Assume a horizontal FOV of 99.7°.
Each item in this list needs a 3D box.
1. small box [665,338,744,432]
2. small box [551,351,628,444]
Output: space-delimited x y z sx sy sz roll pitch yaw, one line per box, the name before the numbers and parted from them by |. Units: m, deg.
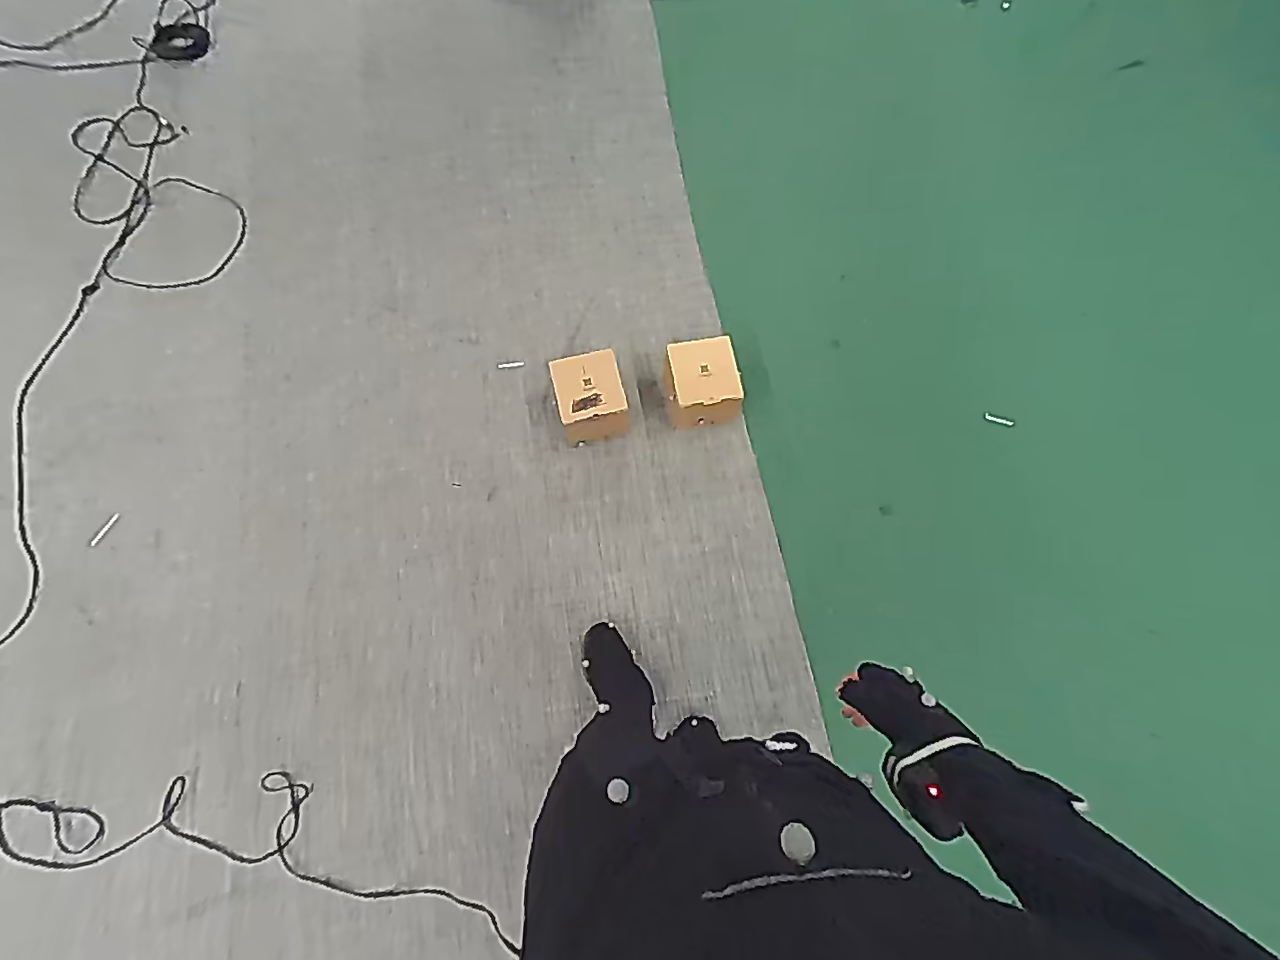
small box | 0.162 -0.246 1.431 0.168 0.176 0.179 -10 73 -3
small box | -0.127 -0.206 1.410 0.168 0.176 0.179 -13 73 -6
